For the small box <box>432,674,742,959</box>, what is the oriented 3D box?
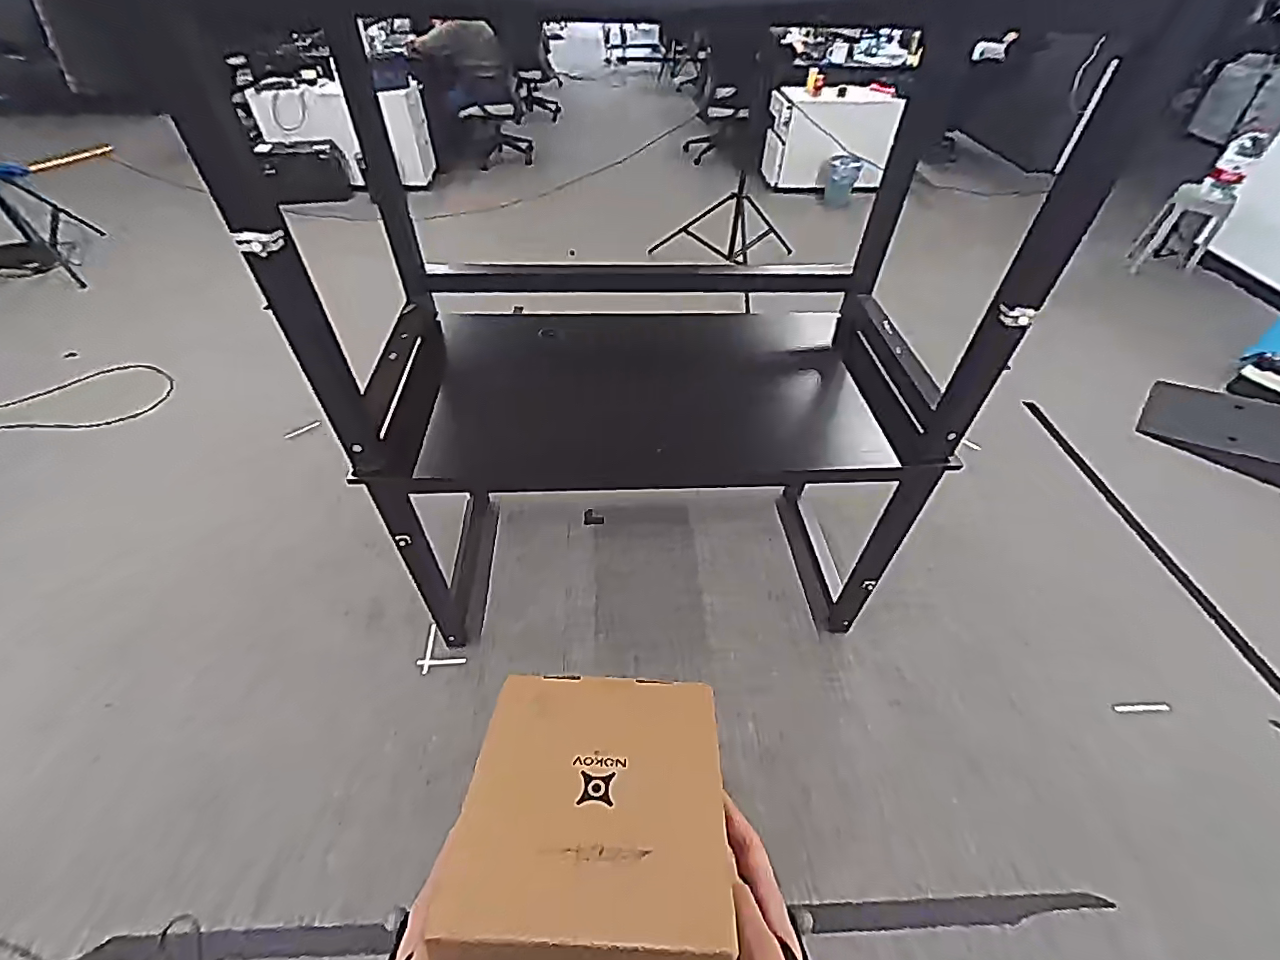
[{"bbox_3d":[-0.027,0.269,0.388,0.168,0.176,0.179,2,28,1],"label":"small box"}]
